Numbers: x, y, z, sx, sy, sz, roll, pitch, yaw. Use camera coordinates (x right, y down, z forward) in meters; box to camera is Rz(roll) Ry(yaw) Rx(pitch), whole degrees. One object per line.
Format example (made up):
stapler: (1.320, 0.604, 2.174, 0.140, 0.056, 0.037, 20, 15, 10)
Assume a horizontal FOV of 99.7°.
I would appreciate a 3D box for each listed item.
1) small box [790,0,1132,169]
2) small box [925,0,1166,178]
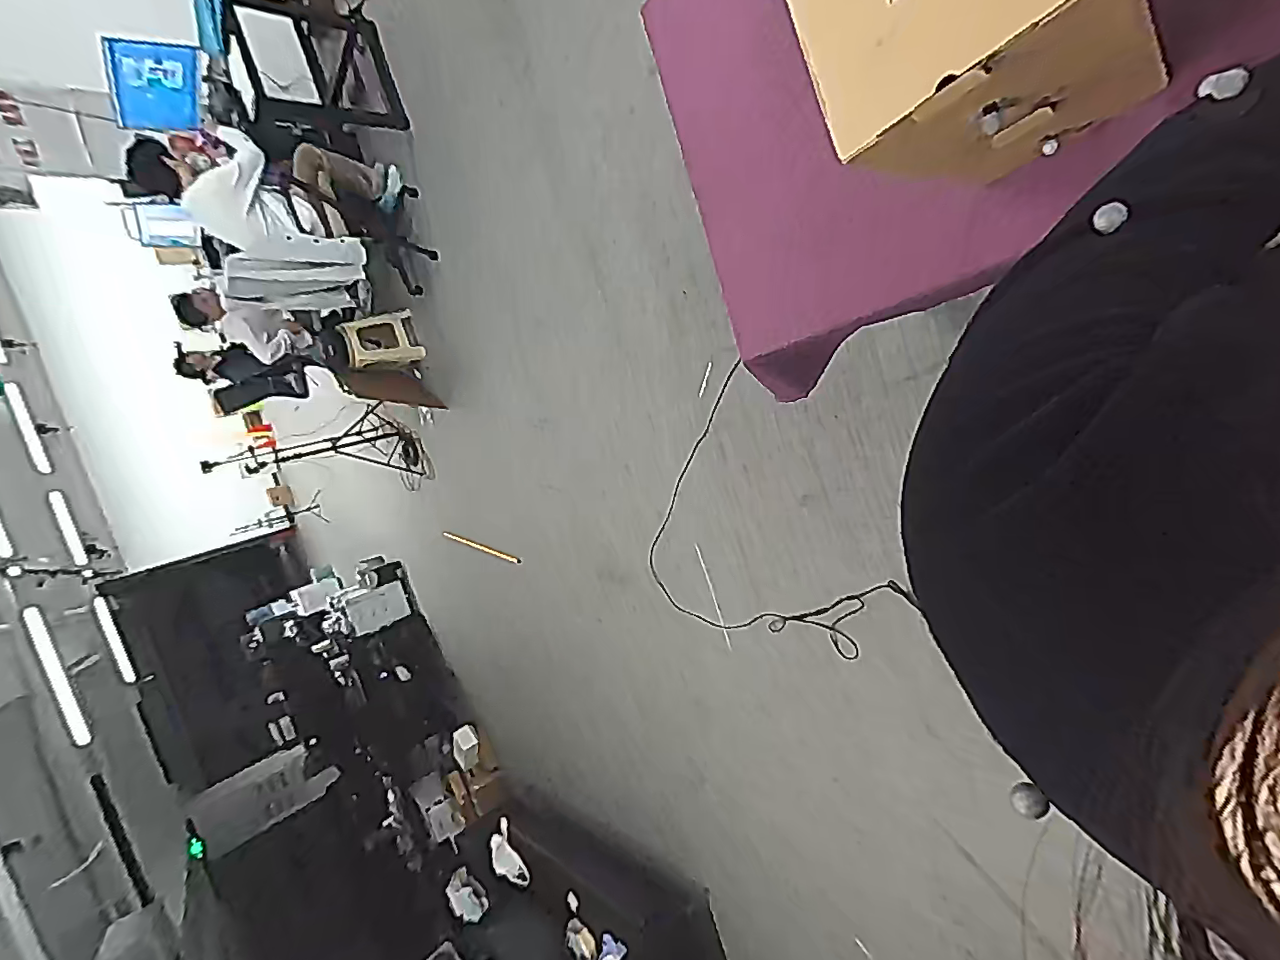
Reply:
small box: (0.244, -0.370, 0.419, 0.168, 0.176, 0.179, -16, 94, 51)
small box: (0.366, -0.421, 0.519, 0.168, 0.176, 0.179, -15, 95, 52)
